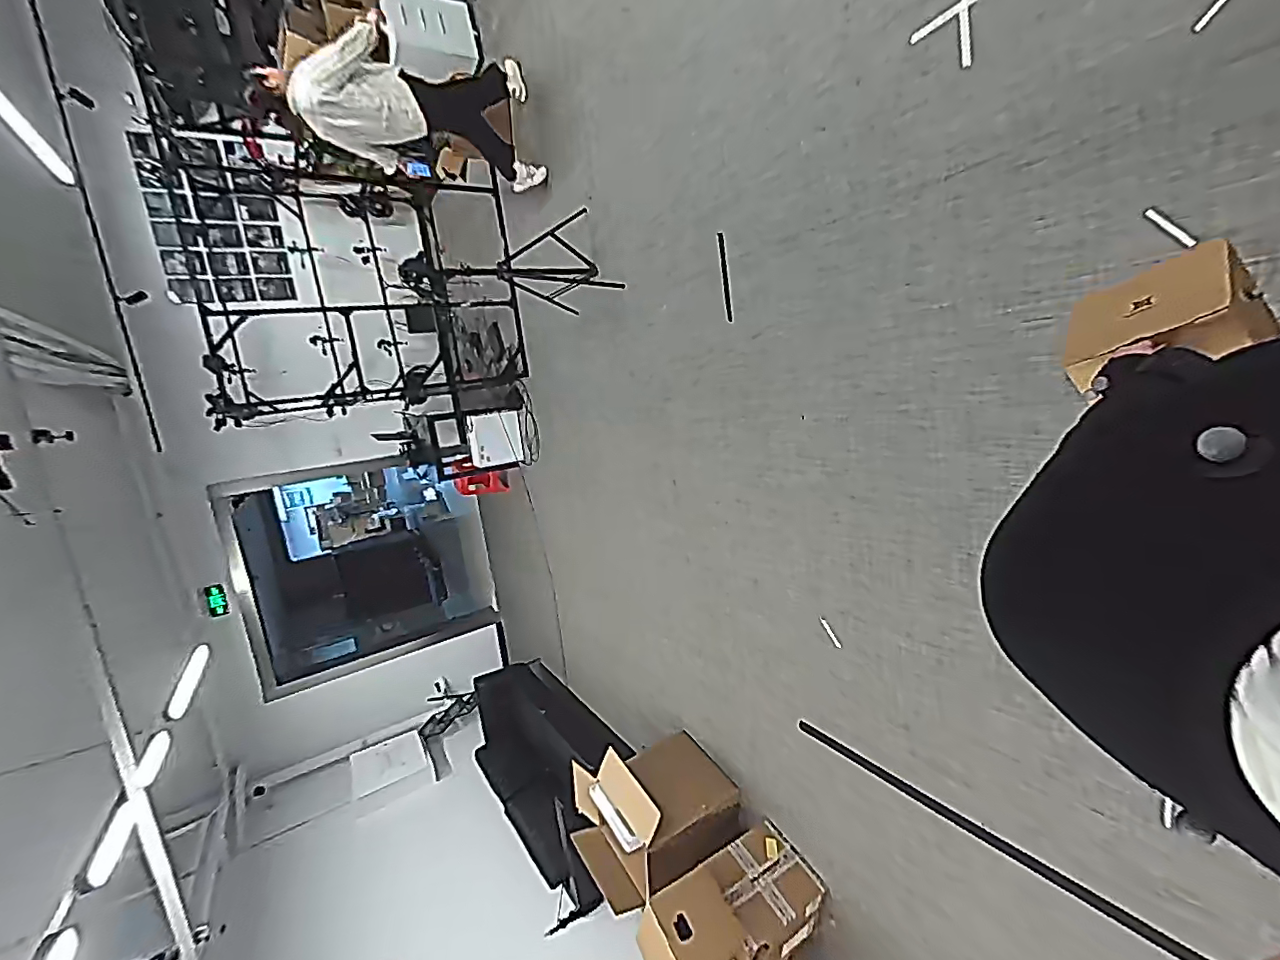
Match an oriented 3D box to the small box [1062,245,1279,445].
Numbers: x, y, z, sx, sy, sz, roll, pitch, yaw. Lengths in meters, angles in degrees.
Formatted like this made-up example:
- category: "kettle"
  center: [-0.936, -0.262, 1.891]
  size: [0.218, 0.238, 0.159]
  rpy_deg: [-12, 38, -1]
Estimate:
- category: "small box"
  center: [0.713, -0.167, 0.726]
  size: [0.176, 0.179, 0.168]
  rpy_deg: [47, 148, -12]
